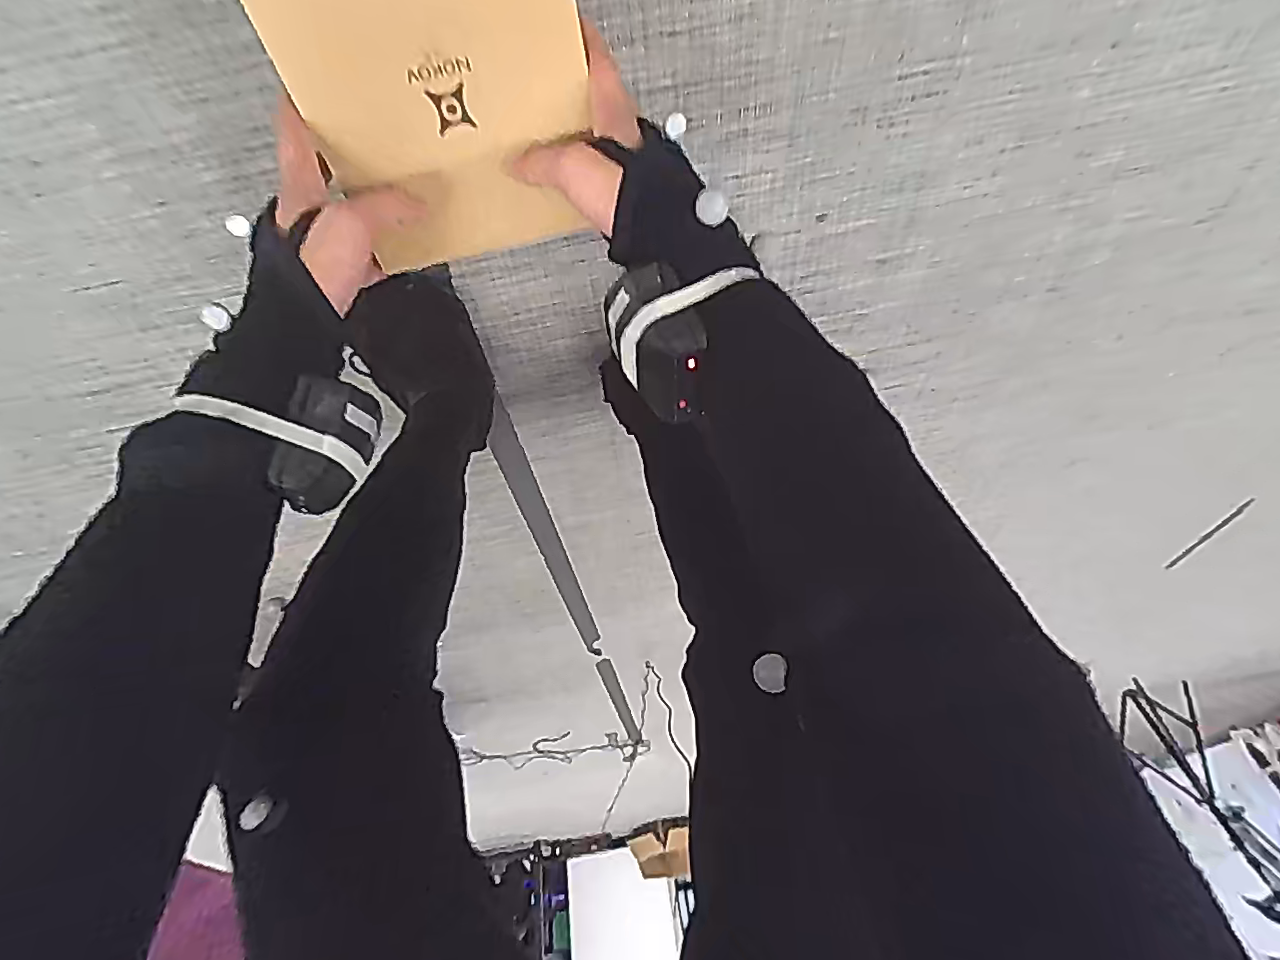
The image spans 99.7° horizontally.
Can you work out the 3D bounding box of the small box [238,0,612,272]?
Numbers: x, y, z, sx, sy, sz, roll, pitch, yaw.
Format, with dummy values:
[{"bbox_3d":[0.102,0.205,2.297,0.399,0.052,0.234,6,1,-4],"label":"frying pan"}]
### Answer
[{"bbox_3d":[-0.119,-0.271,0.357,0.168,0.176,0.179,-12,136,1],"label":"small box"}]
